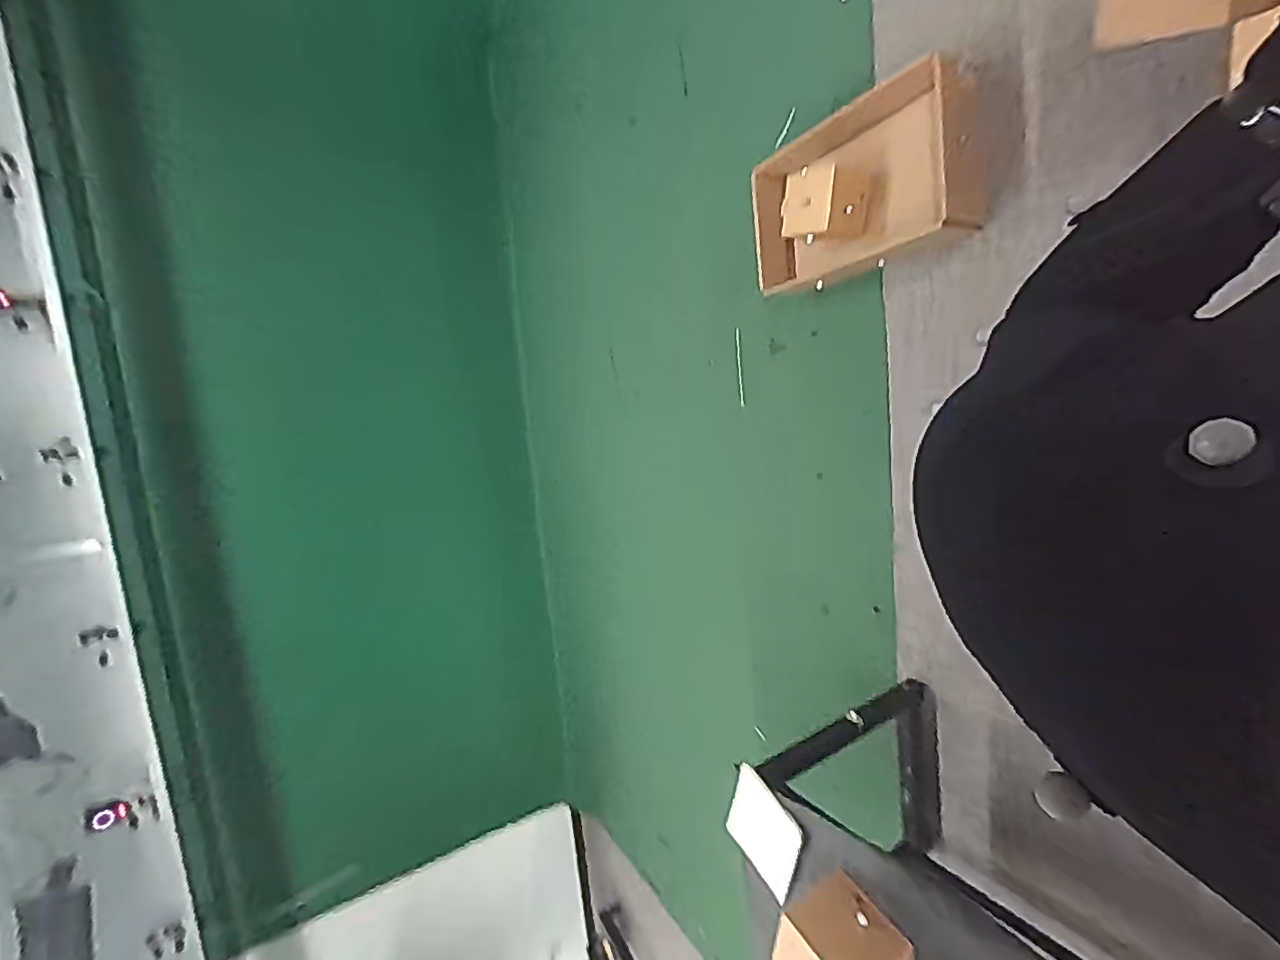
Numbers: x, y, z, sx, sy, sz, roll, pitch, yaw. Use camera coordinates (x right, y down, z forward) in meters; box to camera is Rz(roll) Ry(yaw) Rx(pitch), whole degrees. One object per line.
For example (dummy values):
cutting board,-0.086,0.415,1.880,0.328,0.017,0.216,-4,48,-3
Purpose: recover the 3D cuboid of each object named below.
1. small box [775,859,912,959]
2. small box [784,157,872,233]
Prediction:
small box,0.383,0.881,1.024,0.168,0.176,0.179,31,124,51
small box,0.554,-0.833,1.595,0.179,0.176,0.168,25,118,53
